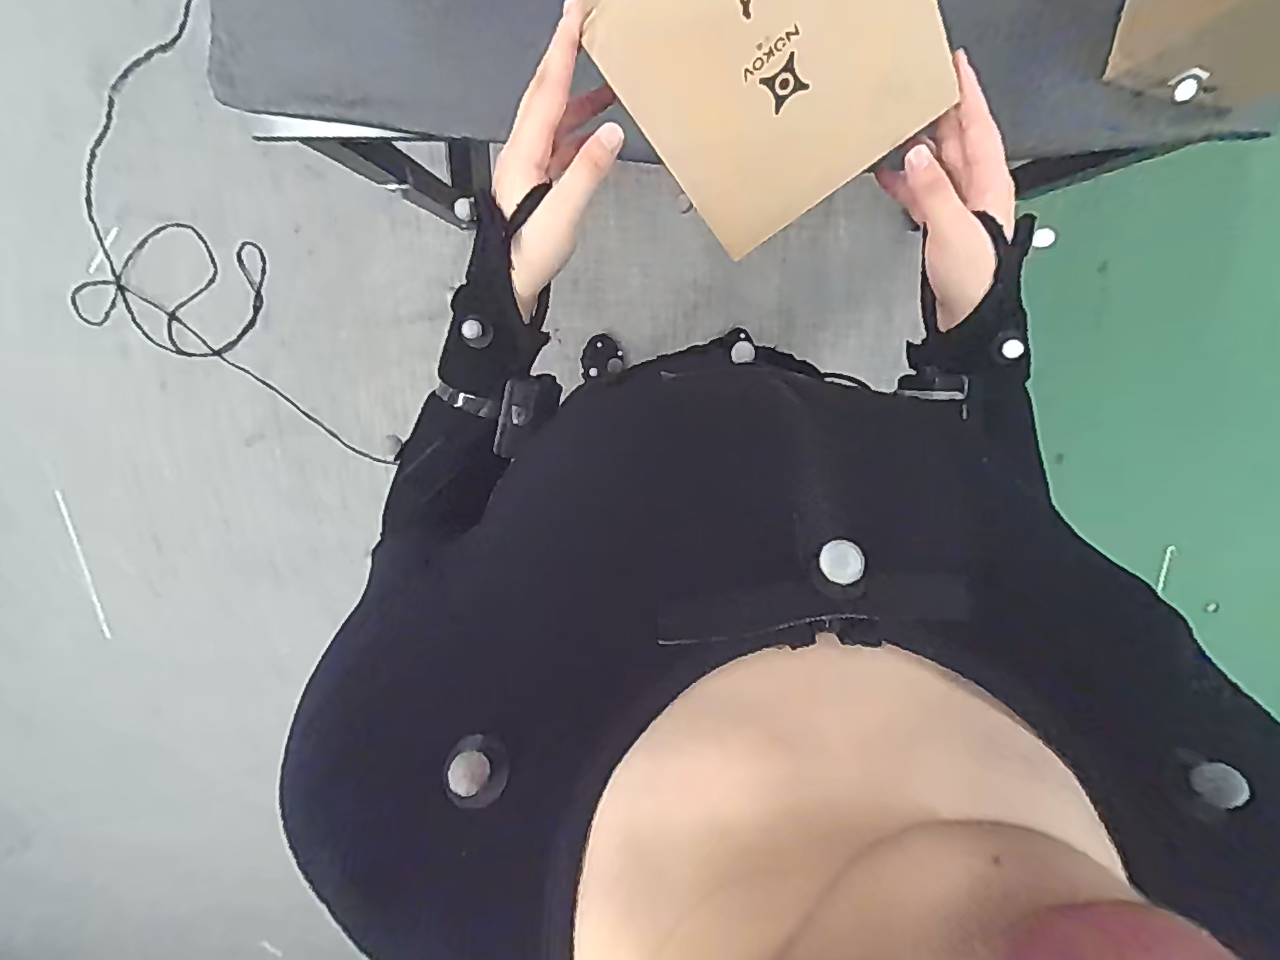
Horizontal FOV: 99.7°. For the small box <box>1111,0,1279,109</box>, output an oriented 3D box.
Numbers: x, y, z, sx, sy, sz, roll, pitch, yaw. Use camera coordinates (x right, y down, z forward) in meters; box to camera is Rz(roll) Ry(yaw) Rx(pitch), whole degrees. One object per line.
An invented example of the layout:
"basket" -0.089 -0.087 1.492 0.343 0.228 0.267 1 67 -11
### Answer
"small box" 0.615 -0.501 0.518 0.168 0.176 0.179 9 103 0
